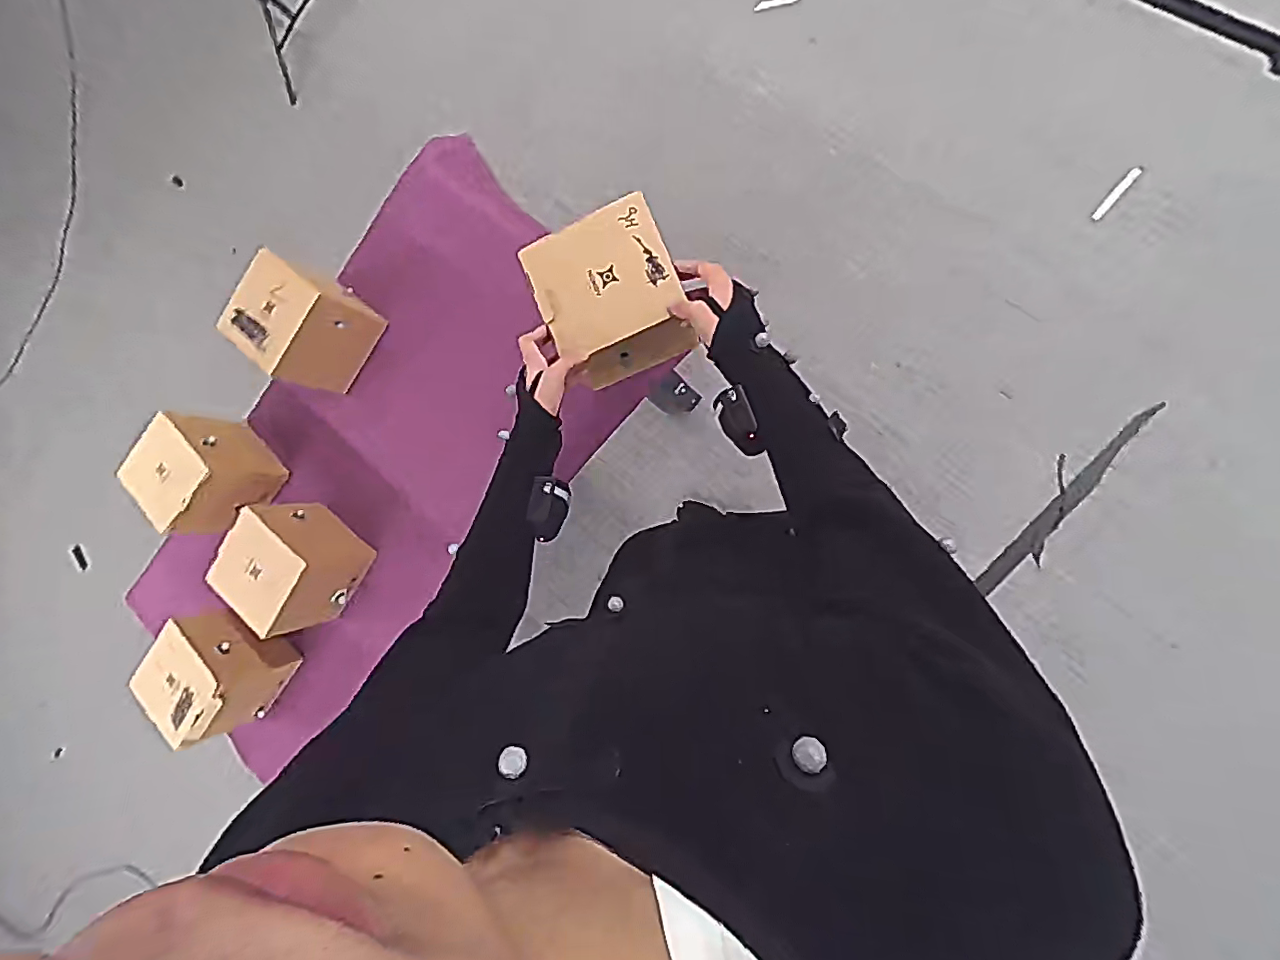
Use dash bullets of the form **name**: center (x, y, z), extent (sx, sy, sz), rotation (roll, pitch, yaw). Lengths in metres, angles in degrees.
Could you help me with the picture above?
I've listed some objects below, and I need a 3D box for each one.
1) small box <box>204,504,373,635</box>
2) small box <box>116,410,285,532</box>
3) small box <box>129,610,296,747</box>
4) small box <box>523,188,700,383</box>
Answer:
- **small box**: center (-0.656, 0.160, 1.022), extent (0.179, 0.176, 0.168), rotation (36, 98, 14)
- **small box**: center (-0.871, -0.013, 1.083), extent (0.179, 0.176, 0.168), rotation (43, 98, 12)
- **small box**: center (-0.826, 0.372, 1.060), extent (0.179, 0.176, 0.168), rotation (39, 98, 15)
- **small box**: center (-0.028, -0.249, 0.741), extent (0.179, 0.176, 0.168), rotation (-21, 86, 9)
